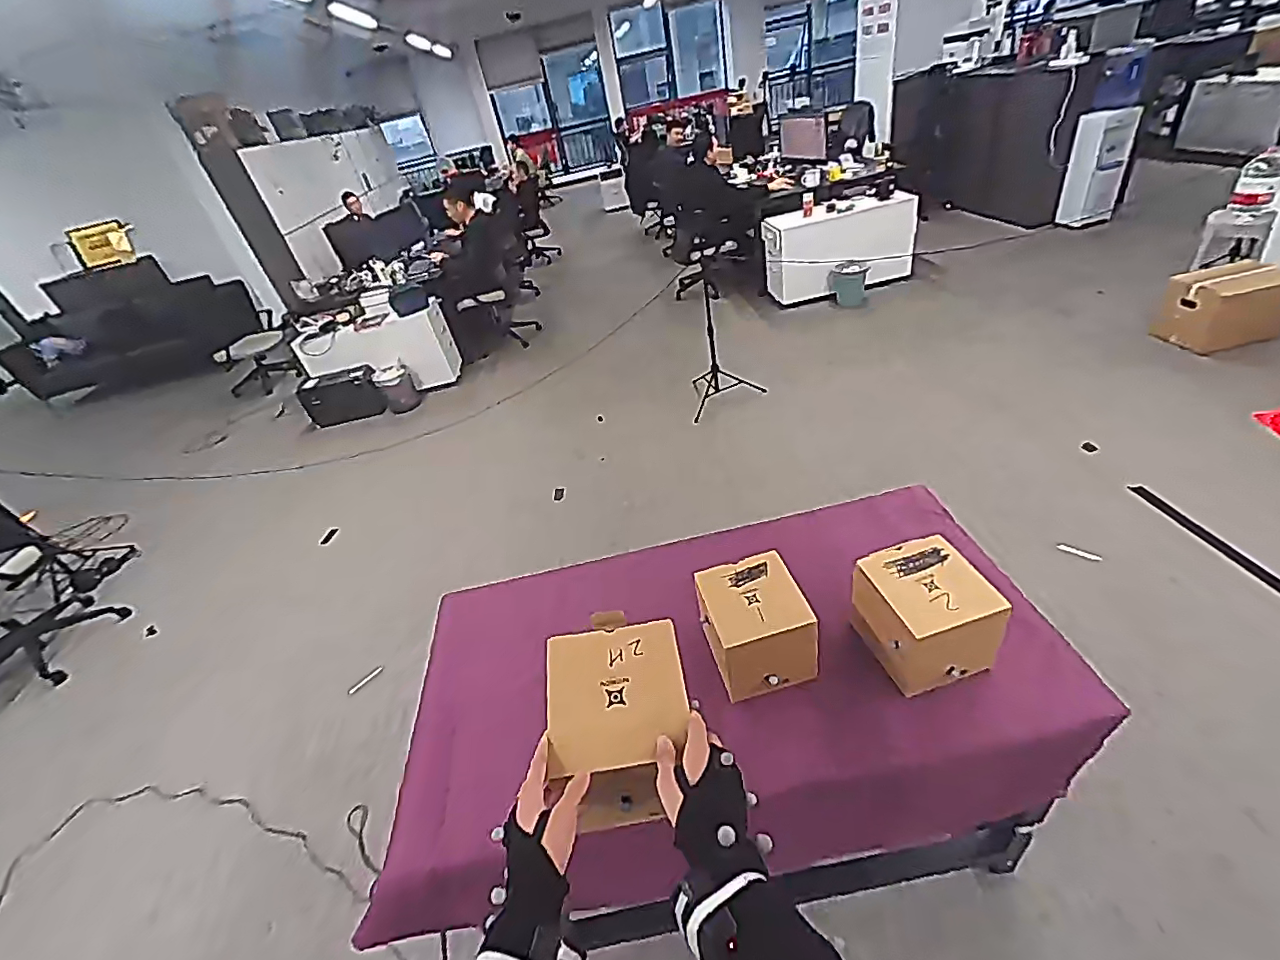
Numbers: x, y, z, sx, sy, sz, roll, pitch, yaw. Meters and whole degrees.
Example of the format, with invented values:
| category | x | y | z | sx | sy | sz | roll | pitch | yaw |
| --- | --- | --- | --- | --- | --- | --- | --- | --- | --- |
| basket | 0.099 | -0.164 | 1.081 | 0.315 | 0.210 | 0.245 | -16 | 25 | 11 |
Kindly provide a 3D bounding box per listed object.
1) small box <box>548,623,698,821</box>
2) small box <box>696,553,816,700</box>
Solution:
| category | x | y | z | sx | sy | sz | roll | pitch | yaw |
| --- | --- | --- | --- | --- | --- | --- | --- | --- | --- |
| small box | -0.020 | 0.315 | 0.700 | 0.168 | 0.176 | 0.179 | -8 | 39 | -2 |
| small box | 0.212 | 0.271 | 1.006 | 0.168 | 0.176 | 0.179 | -16 | 37 | -3 |
